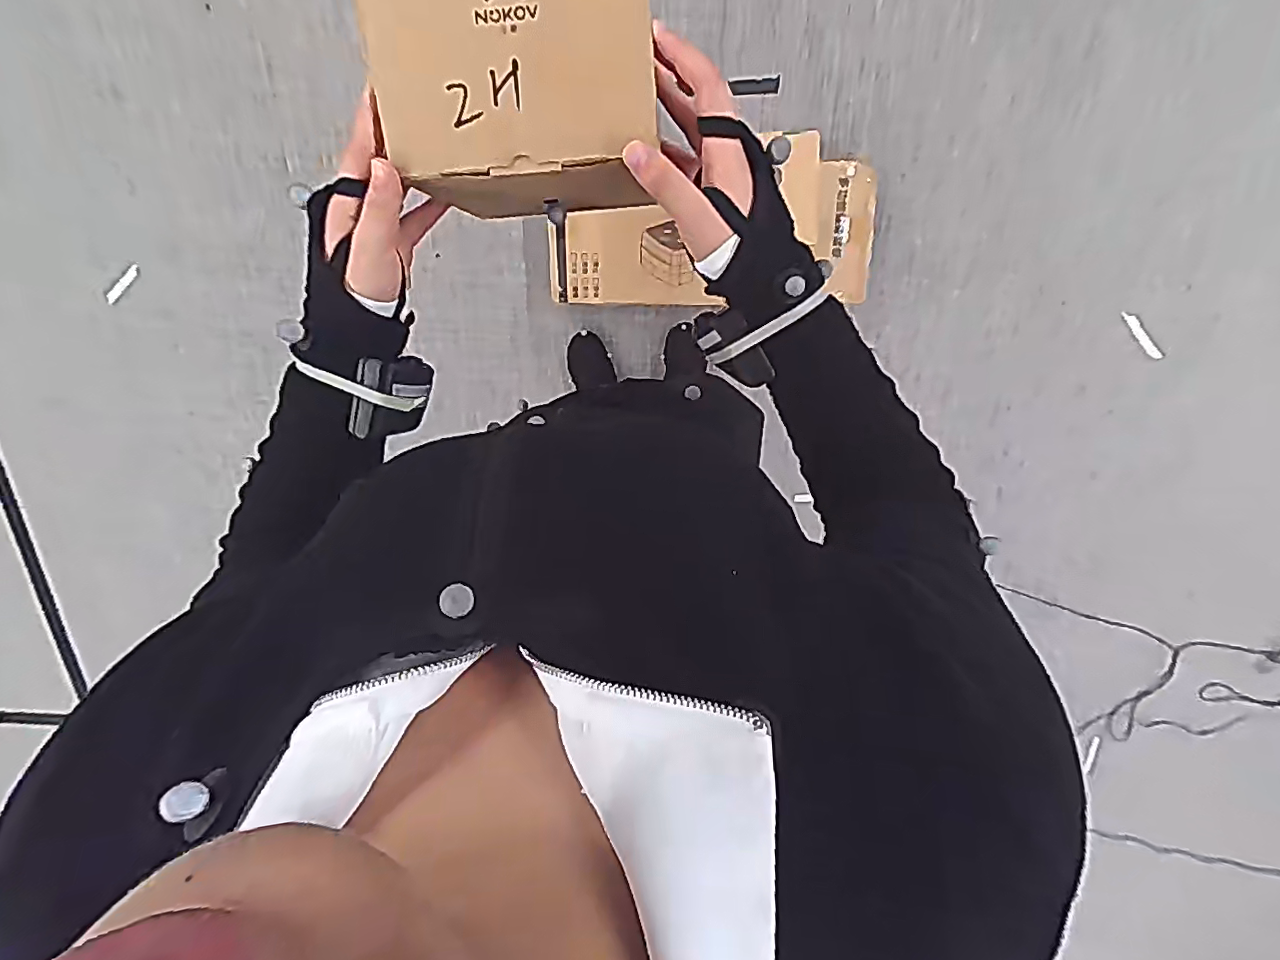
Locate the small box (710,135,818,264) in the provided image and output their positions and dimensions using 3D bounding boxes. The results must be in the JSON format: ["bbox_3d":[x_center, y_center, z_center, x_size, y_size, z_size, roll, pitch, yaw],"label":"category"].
[{"bbox_3d":[0.219,-0.502,0.989,0.168,0.176,0.179,-4,107,3],"label":"small box"}]

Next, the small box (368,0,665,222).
[{"bbox_3d":[-0.069,-0.292,0.378,0.168,0.176,0.179,-2,108,3],"label":"small box"}]

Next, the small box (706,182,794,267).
[{"bbox_3d":[0.231,-0.550,1.145,0.168,0.176,0.179,-2,108,2],"label":"small box"}]
